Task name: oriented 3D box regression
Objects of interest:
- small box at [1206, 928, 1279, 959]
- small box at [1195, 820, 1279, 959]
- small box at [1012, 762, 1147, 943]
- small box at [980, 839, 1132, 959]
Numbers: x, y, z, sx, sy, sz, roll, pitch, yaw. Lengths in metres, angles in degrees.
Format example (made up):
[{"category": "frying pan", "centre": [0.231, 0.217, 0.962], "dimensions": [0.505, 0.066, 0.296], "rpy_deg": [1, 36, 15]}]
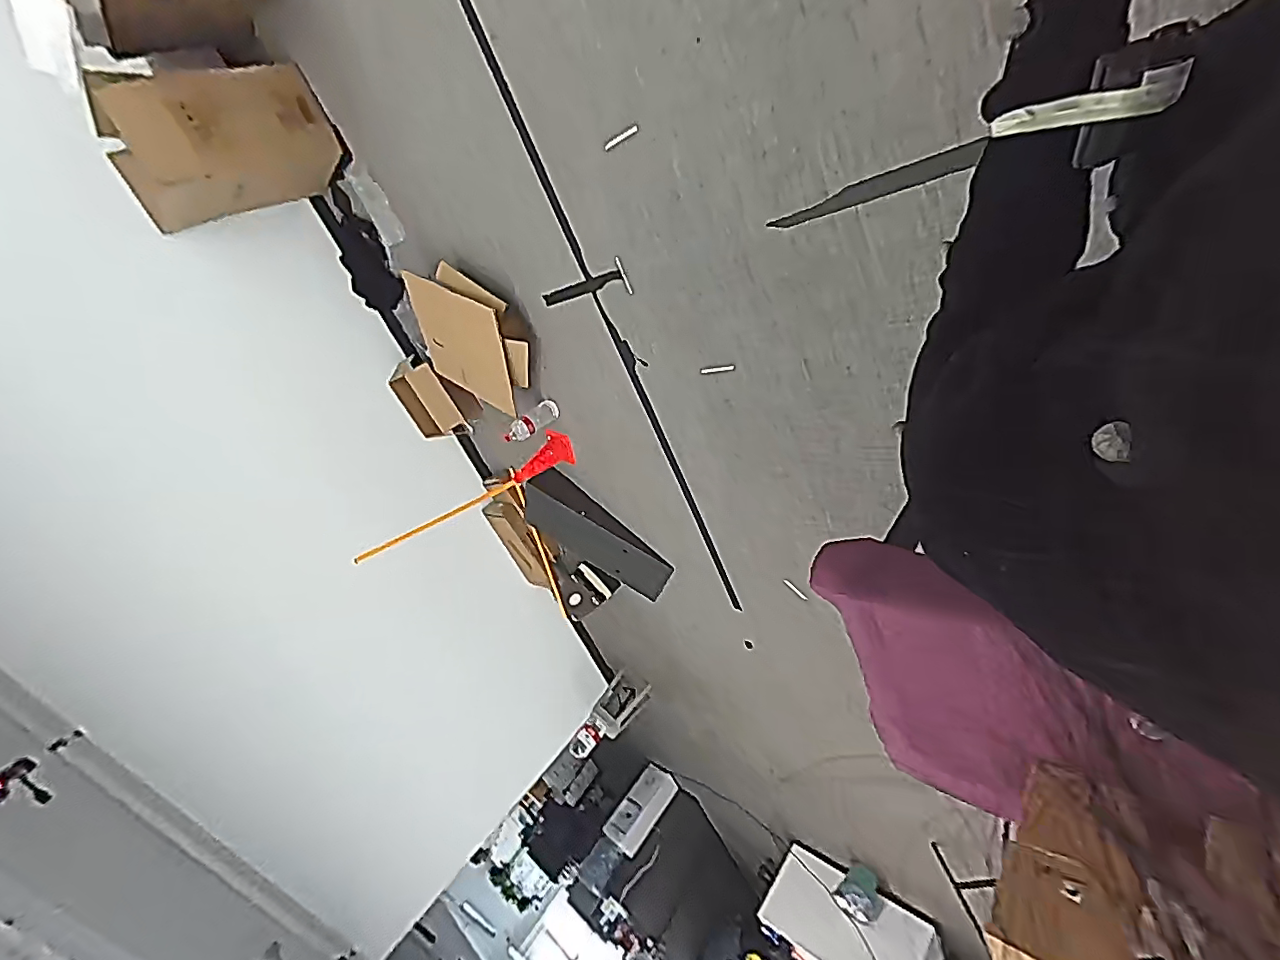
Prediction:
[{"category": "small box", "centre": [0.850, 0.746, 0.698], "dimensions": [0.168, 0.176, 0.179], "rpy_deg": [7, 128, 46]}, {"category": "small box", "centre": [0.941, 0.650, 0.794], "dimensions": [0.168, 0.176, 0.179], "rpy_deg": [4, 127, 48]}, {"category": "small box", "centre": [0.792, 0.656, 0.972], "dimensions": [0.168, 0.176, 0.179], "rpy_deg": [4, 126, 47]}, {"category": "small box", "centre": [0.688, 0.750, 0.890], "dimensions": [0.168, 0.176, 0.179], "rpy_deg": [0, 123, 48]}]
